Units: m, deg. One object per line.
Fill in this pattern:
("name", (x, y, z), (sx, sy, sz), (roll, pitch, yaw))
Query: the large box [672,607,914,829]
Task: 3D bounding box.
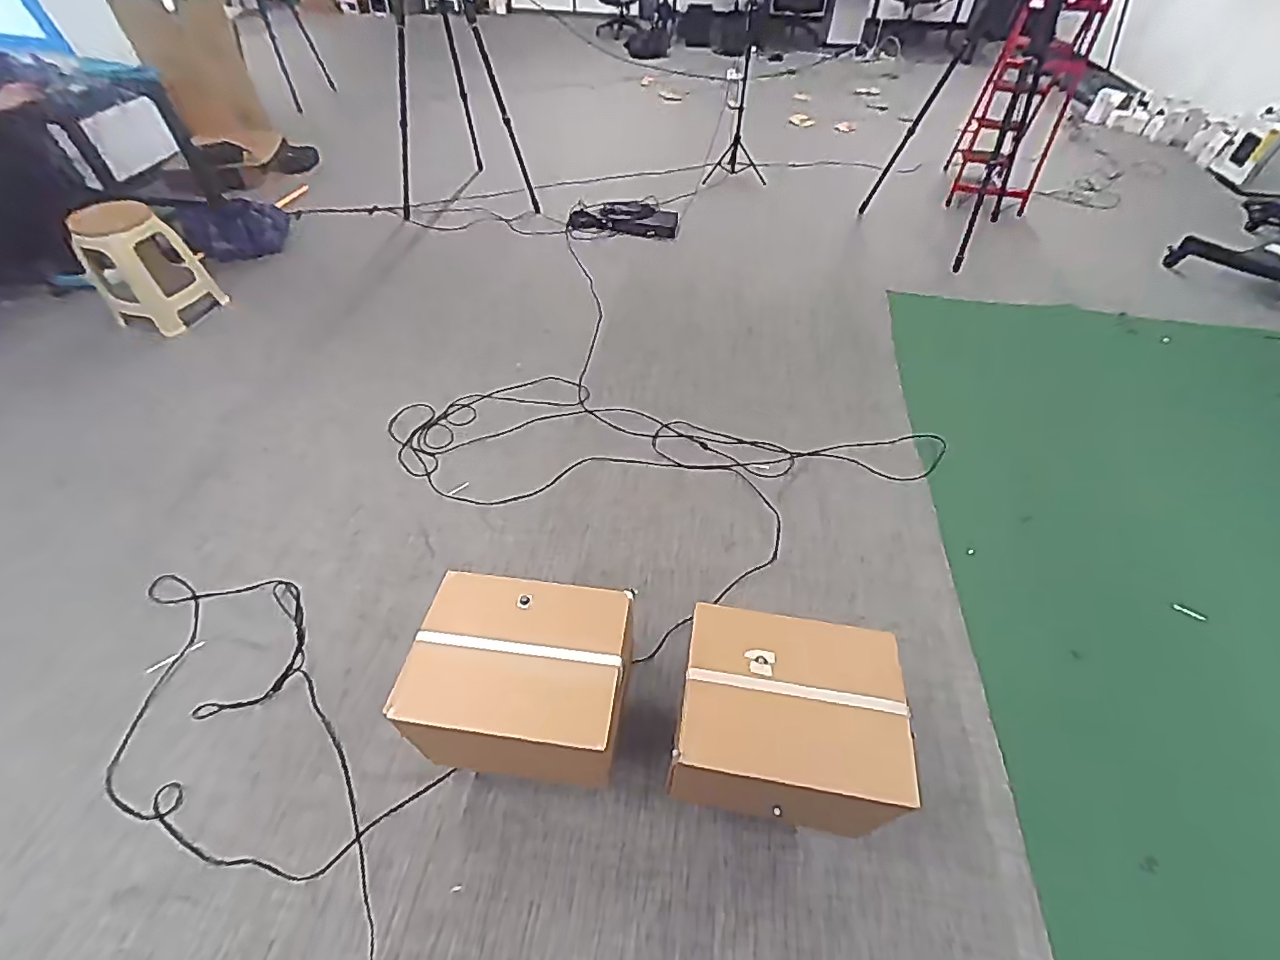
("large box", (0.290, 0.500, 1.130), (0.408, 0.320, 0.320), (8, 49, 7))
